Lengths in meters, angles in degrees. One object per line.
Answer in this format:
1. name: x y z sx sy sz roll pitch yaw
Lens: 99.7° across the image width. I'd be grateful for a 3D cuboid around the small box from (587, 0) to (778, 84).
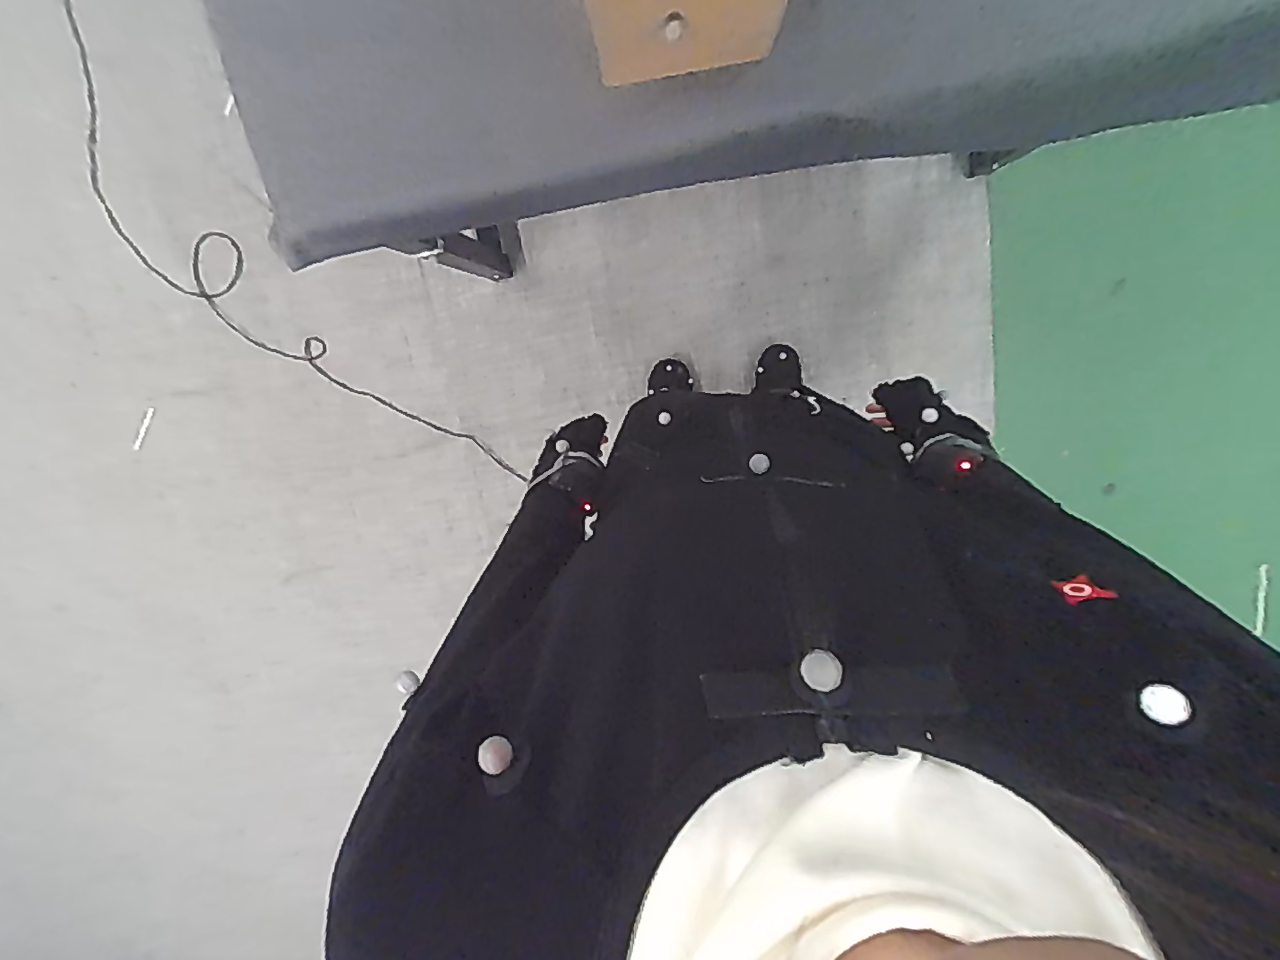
1. small box: 0.033 -0.490 0.482 0.179 0.176 0.168 -6 103 4
